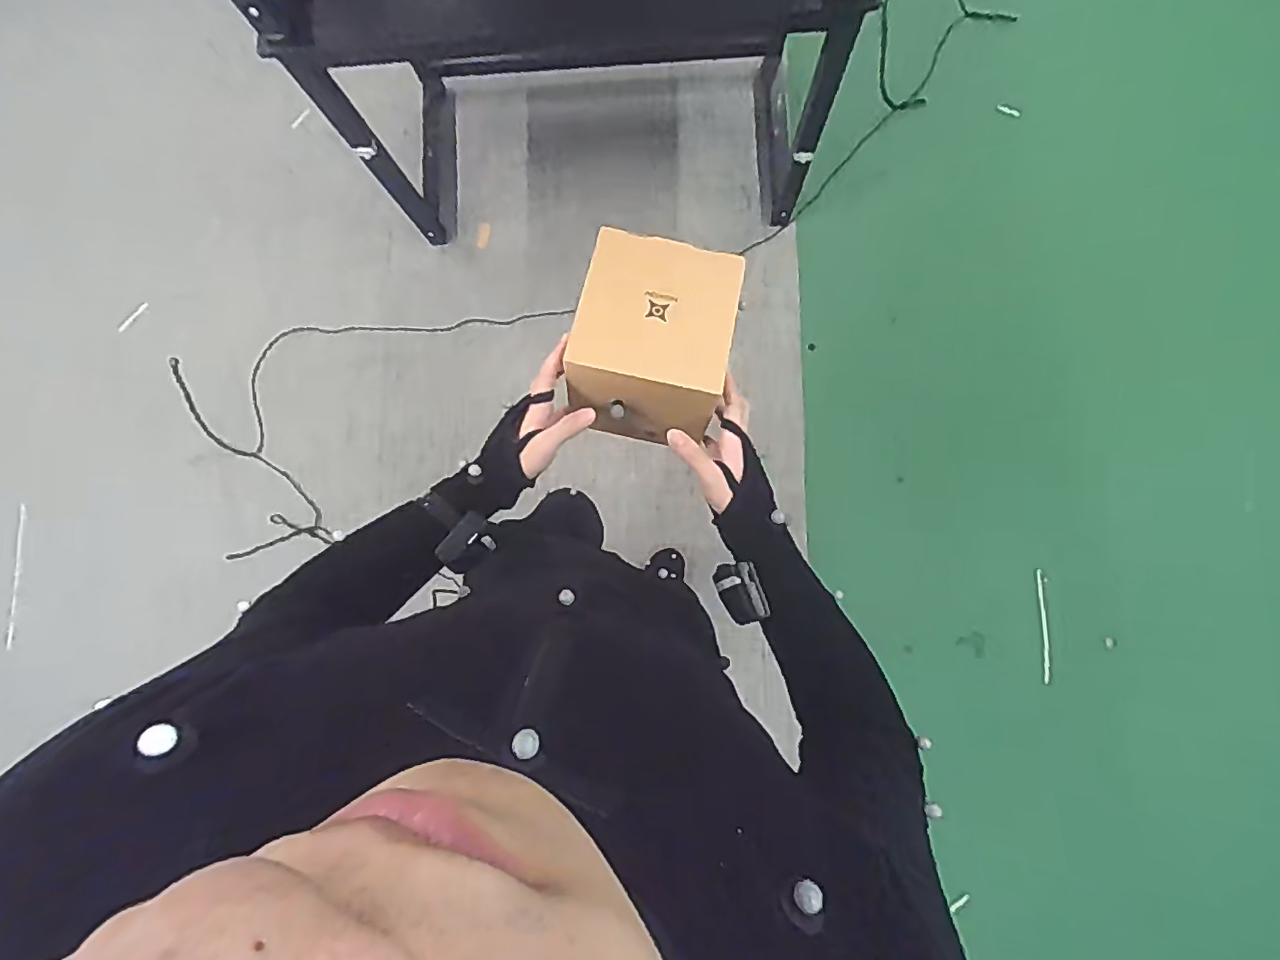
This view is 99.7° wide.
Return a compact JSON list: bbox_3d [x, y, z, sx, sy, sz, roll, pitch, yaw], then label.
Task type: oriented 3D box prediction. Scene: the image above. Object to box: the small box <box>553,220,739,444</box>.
[{"bbox_3d":[0.006,-0.160,0.633,0.168,0.176,0.179,12,71,0],"label":"small box"}]
